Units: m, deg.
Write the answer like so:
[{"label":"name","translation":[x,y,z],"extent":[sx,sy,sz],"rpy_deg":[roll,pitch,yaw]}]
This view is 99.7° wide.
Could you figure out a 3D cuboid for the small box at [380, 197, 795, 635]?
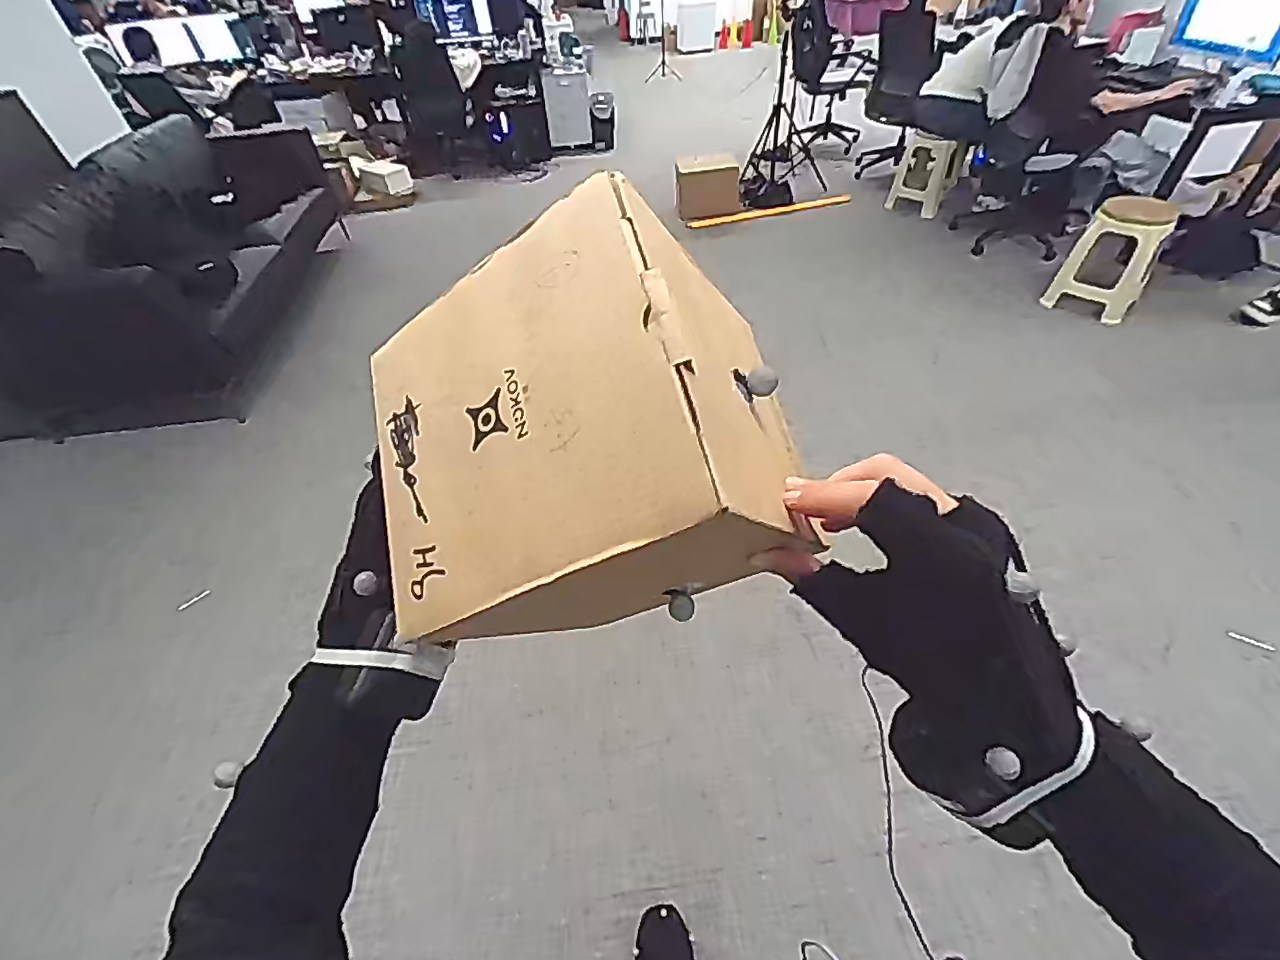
[{"label":"small box","translation":[-0.022,-0.014,0.325],"extent":[0.179,0.176,0.168],"rpy_deg":[-24,68,25]}]
